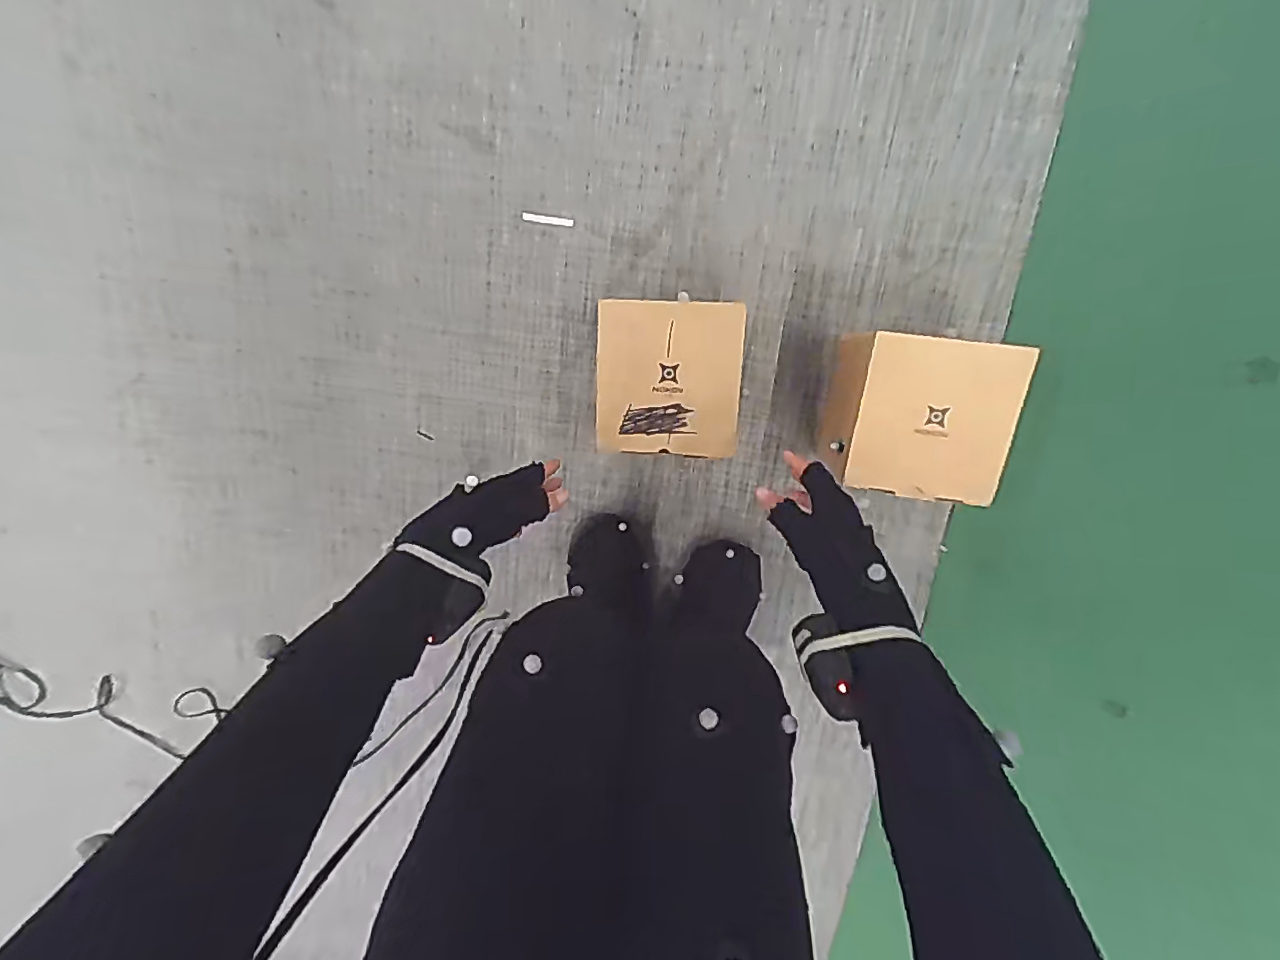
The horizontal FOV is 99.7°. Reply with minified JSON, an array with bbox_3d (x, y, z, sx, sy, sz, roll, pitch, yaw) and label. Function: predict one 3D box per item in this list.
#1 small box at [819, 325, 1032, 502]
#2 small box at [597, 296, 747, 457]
[{"bbox_3d":[0.331,-0.088,0.668,0.168,0.176,0.179,9,104,6],"label":"small box"},{"bbox_3d":[0.044,-0.136,0.695,0.168,0.176,0.179,4,104,6],"label":"small box"}]
